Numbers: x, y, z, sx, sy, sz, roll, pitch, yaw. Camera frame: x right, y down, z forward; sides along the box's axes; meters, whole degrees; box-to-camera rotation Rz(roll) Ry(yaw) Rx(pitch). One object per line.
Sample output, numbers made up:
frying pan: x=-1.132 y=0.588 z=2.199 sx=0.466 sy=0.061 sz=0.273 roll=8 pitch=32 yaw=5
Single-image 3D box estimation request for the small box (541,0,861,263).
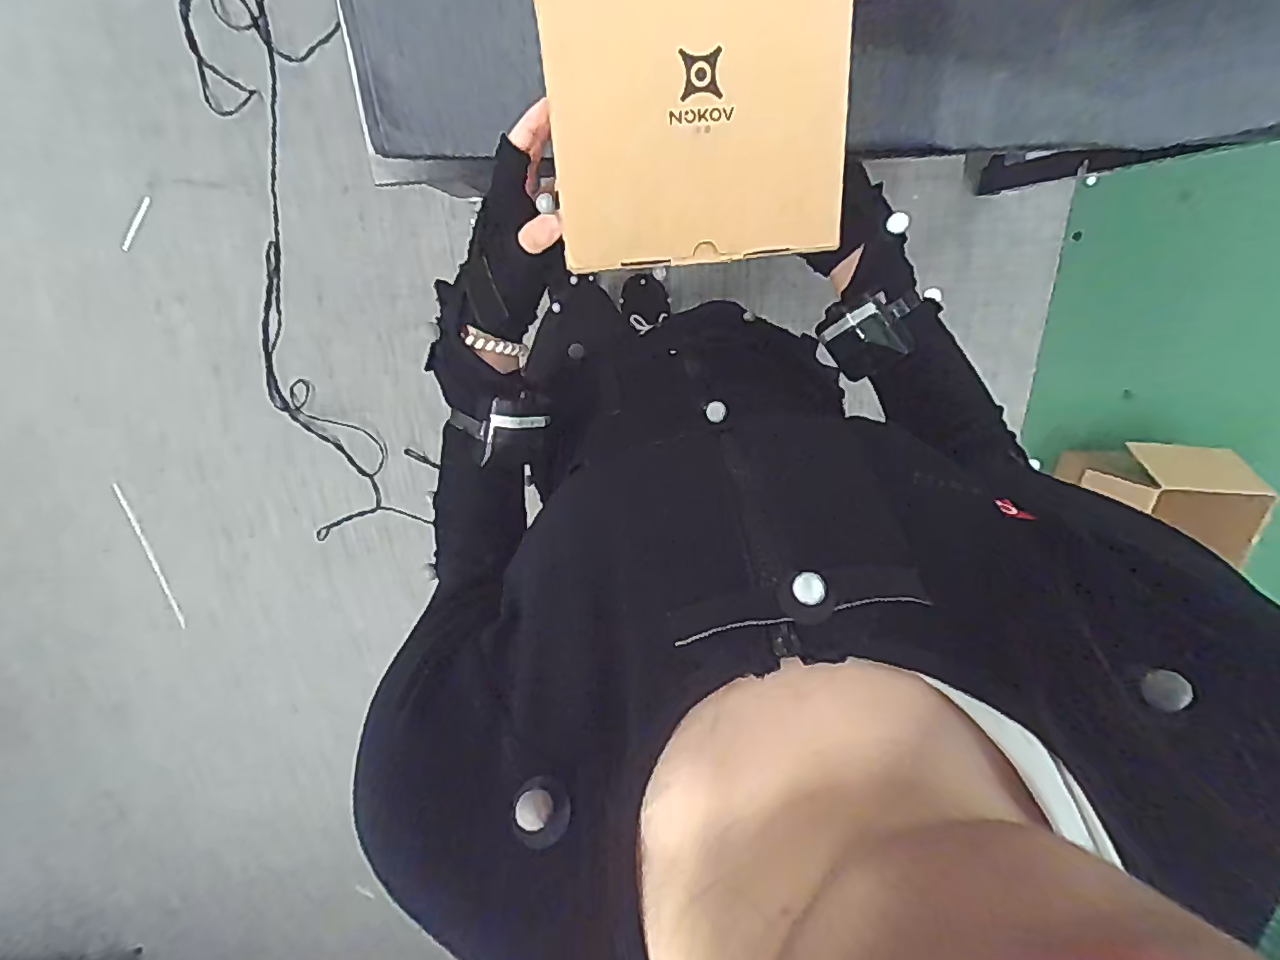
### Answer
small box: x=0.026 y=-0.243 z=0.358 sx=0.168 sy=0.176 sz=0.179 roll=-7 pitch=113 yaw=-4
